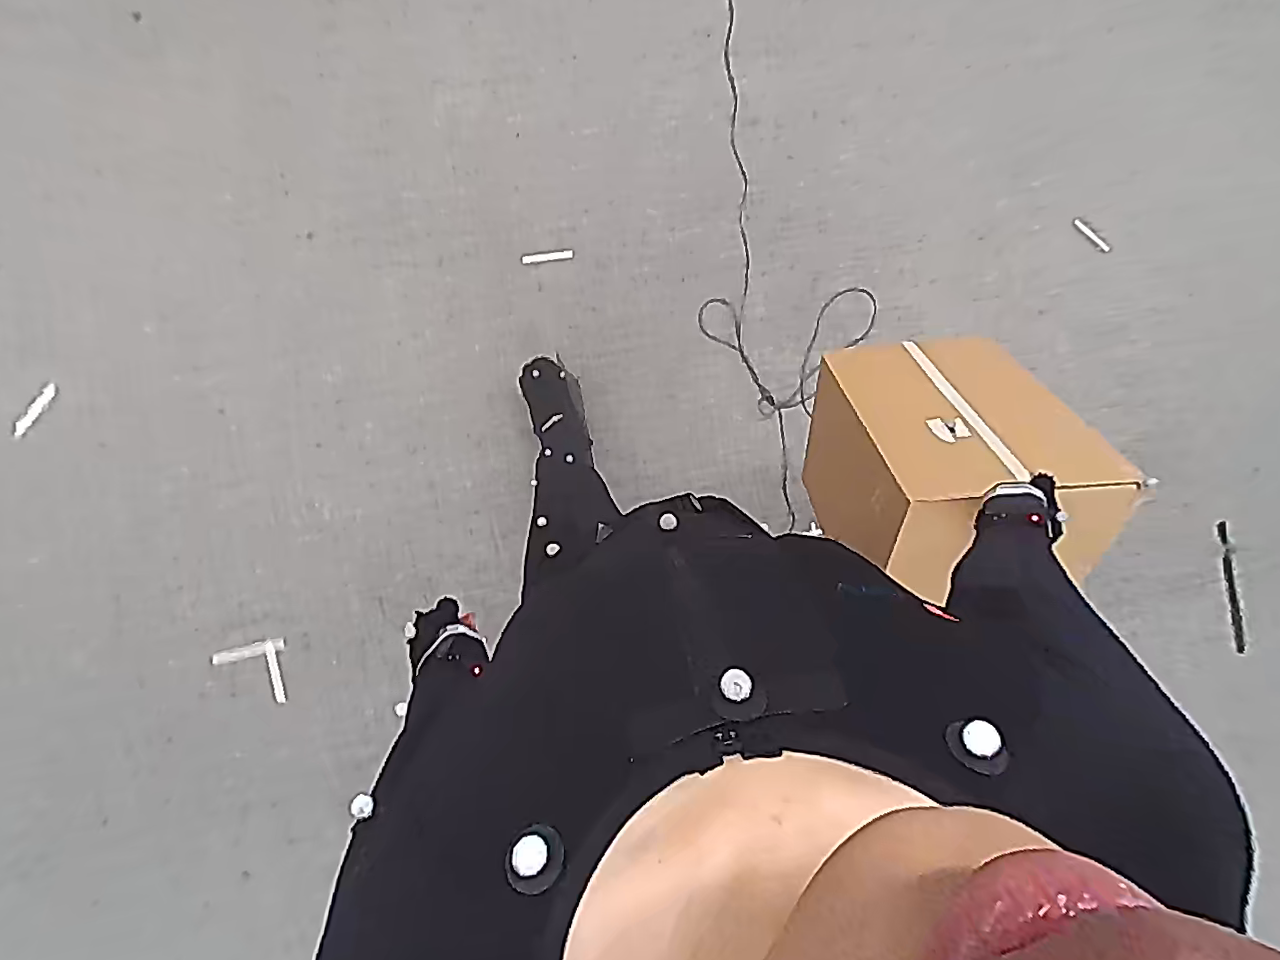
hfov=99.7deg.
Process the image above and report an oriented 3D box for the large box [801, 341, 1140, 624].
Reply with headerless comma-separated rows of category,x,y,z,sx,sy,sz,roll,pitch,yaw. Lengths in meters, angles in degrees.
large box,0.510,-0.006,0.961,0.320,0.408,0.320,-5,133,1
